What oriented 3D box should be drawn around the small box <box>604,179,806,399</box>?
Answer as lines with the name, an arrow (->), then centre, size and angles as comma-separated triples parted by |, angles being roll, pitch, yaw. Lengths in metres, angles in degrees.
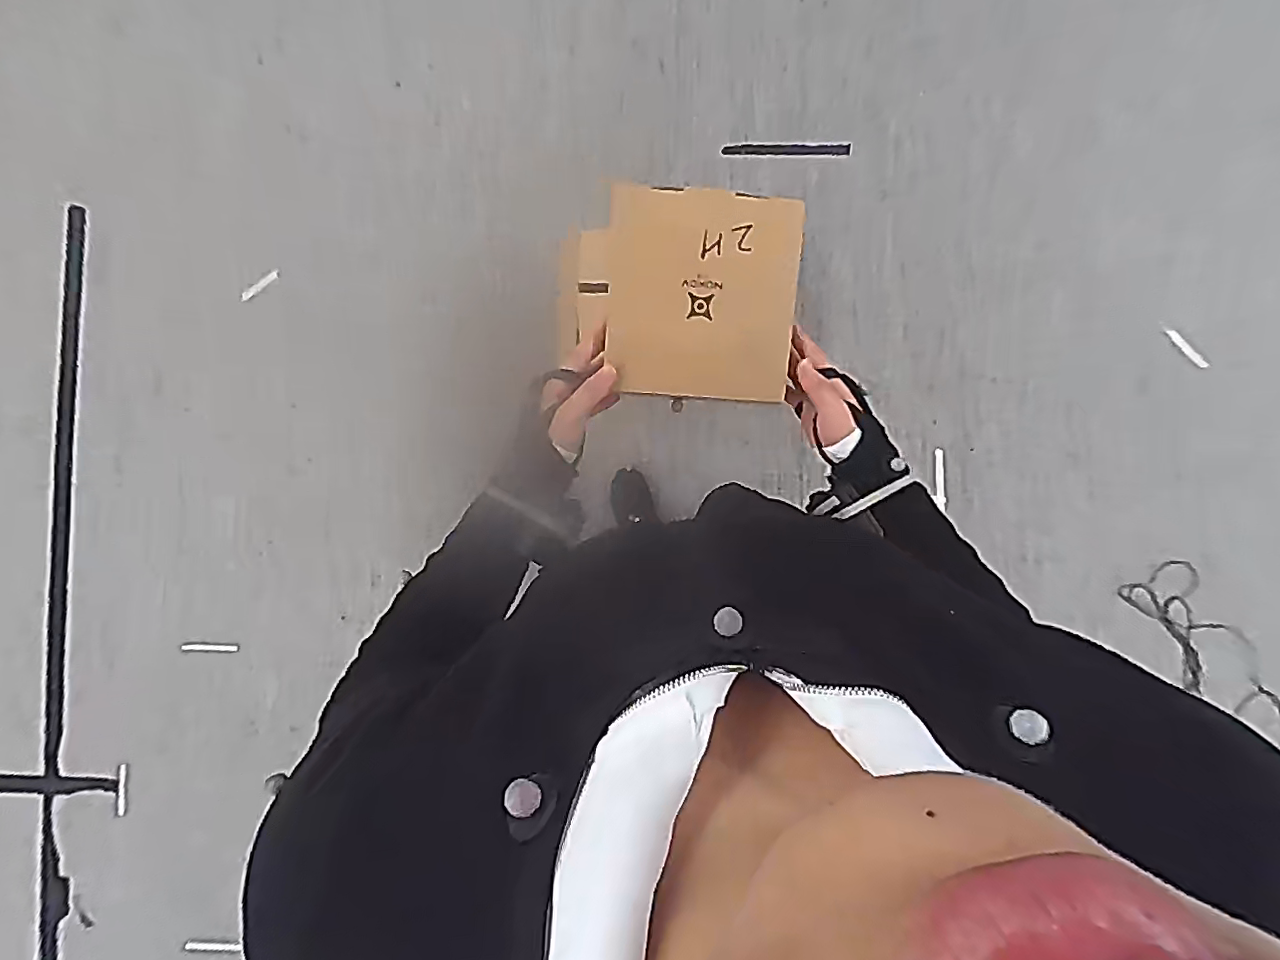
small box -> 0.054, -0.179, 0.557 | 0.168, 0.176, 0.179 | 4, 98, -3
